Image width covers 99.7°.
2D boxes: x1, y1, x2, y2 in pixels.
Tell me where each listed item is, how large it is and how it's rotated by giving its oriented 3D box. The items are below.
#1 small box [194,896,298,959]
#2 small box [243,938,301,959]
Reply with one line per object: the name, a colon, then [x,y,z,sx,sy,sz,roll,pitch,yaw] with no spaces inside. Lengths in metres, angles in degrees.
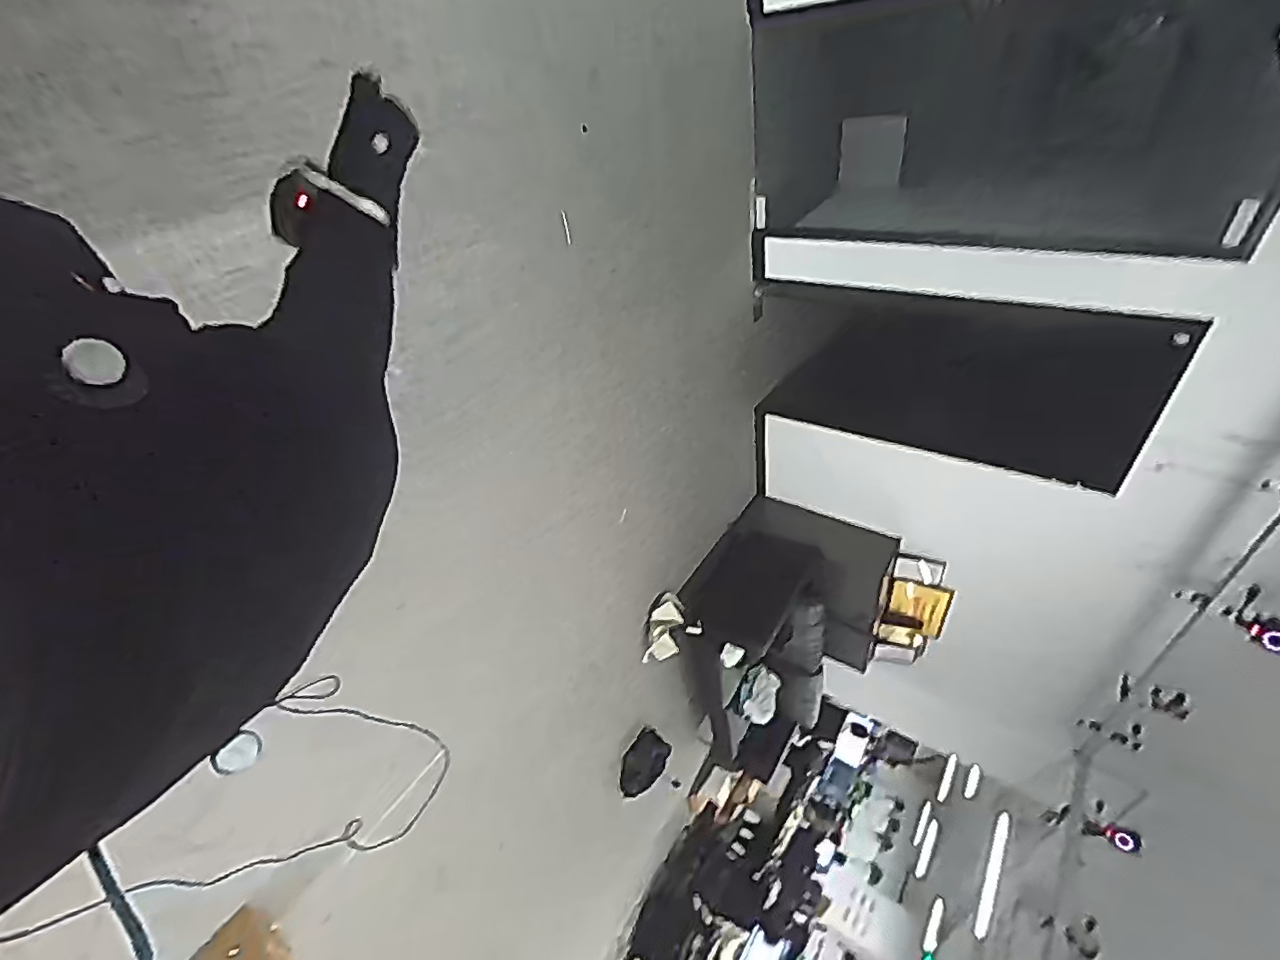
small box: [-1.219,1.445,1.671,0.179,0.176,0.168,-44,140,-36]
small box: [-1.091,1.497,1.581,0.168,0.176,0.179,-43,139,-36]
